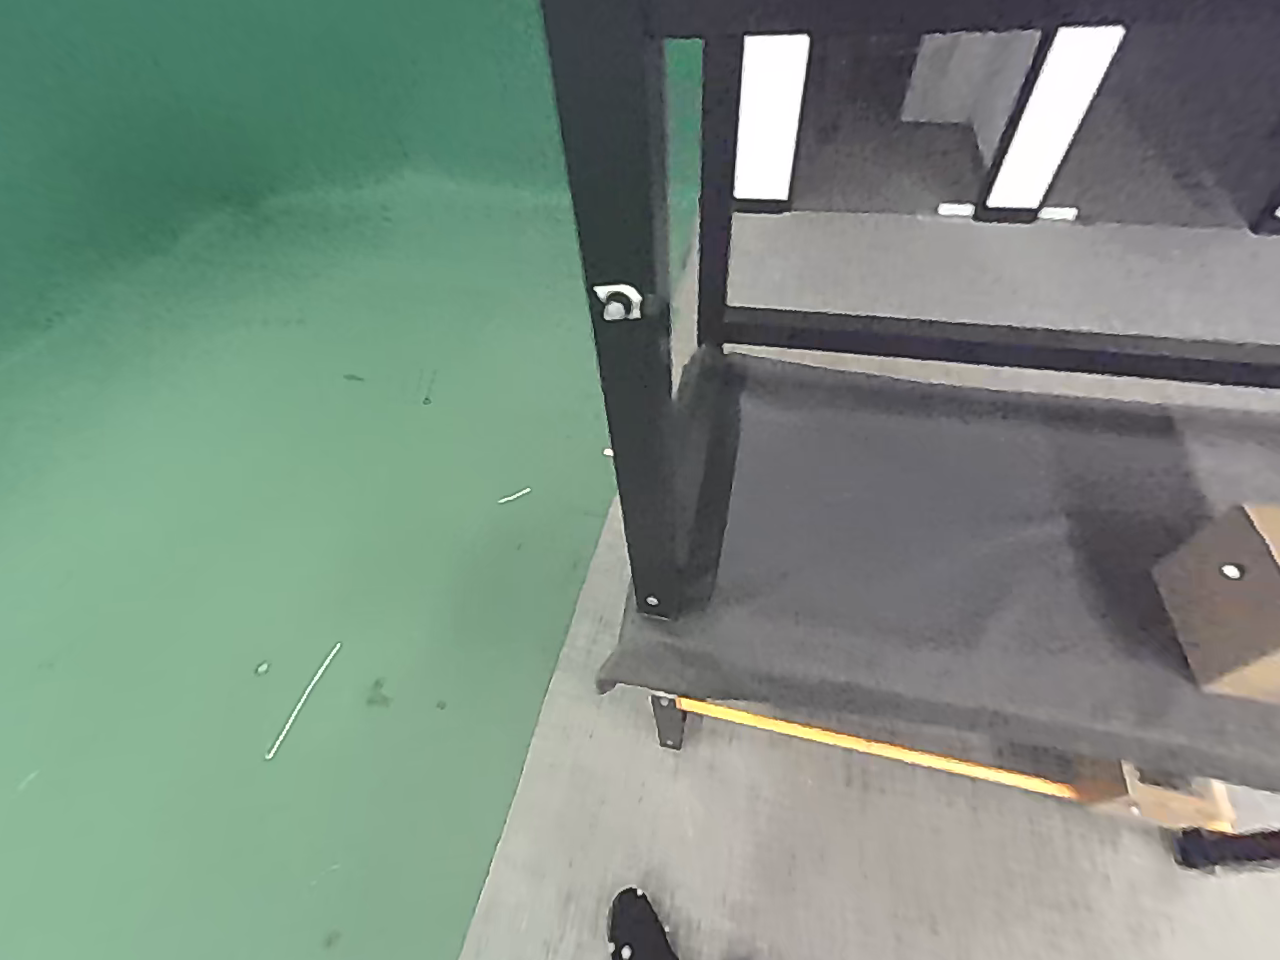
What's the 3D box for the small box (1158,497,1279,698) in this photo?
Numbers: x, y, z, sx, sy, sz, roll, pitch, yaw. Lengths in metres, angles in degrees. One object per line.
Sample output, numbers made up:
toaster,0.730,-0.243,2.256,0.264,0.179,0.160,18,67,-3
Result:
small box,0.789,0.148,0.649,0.168,0.176,0.179,7,51,12
